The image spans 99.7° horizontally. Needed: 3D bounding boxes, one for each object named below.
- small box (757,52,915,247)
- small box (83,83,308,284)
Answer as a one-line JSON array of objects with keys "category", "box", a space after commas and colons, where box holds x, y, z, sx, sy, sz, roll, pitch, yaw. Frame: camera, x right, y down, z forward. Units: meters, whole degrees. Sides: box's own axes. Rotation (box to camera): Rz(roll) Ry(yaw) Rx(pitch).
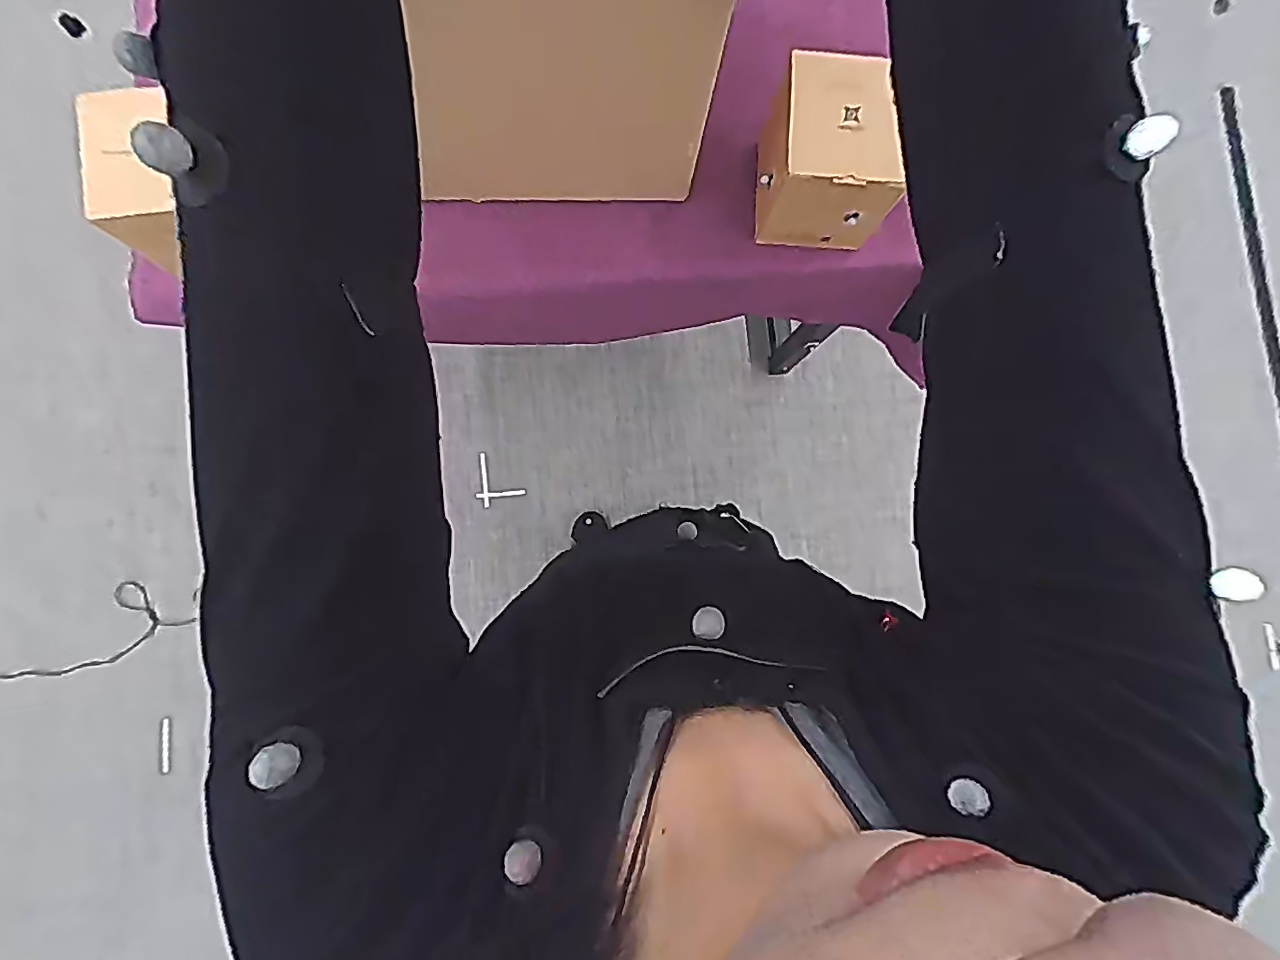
[{"category": "small box", "box": [0.272, -0.460, 0.778, 0.168, 0.176, 0.179, 3, 84, -3]}, {"category": "small box", "box": [-0.573, -0.384, 0.725, 0.179, 0.176, 0.168, -9, 84, -5]}]
